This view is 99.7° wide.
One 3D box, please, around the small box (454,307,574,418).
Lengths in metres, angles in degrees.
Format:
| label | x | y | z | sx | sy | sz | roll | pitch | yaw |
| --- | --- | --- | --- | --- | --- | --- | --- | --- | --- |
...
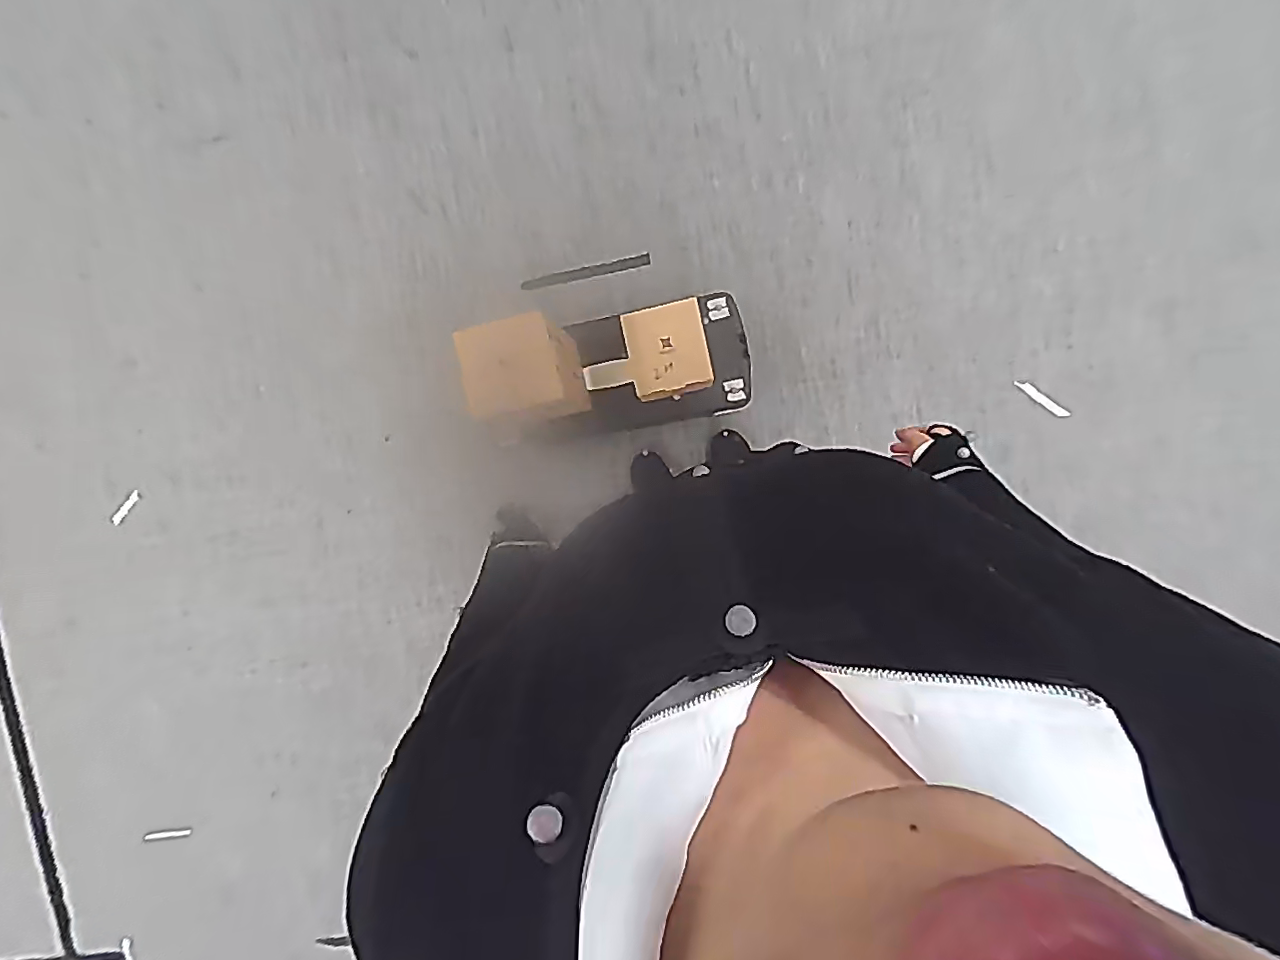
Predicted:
| label | x | y | z | sx | sy | sz | roll | pitch | yaw |
| --- | --- | --- | --- | --- | --- | --- | --- | --- | --- |
| small box | -0.235 | -0.223 | 1.069 | 0.179 | 0.176 | 0.168 | -14 | 92 | 4 |

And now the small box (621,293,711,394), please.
| label | x | y | z | sx | sy | sz | roll | pitch | yaw |
| --- | --- | --- | --- | --- | --- | --- | --- | --- | --- |
| small box | 0.059 | -0.294 | 1.209 | 0.168 | 0.176 | 0.179 | -11 | 93 | 6 |

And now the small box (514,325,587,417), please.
| label | x | y | z | sx | sy | sz | roll | pitch | yaw |
| --- | --- | --- | --- | --- | --- | --- | --- | --- | --- |
| small box | -0.226 | -0.236 | 1.232 | 0.179 | 0.176 | 0.168 | -13 | 94 | 5 |
